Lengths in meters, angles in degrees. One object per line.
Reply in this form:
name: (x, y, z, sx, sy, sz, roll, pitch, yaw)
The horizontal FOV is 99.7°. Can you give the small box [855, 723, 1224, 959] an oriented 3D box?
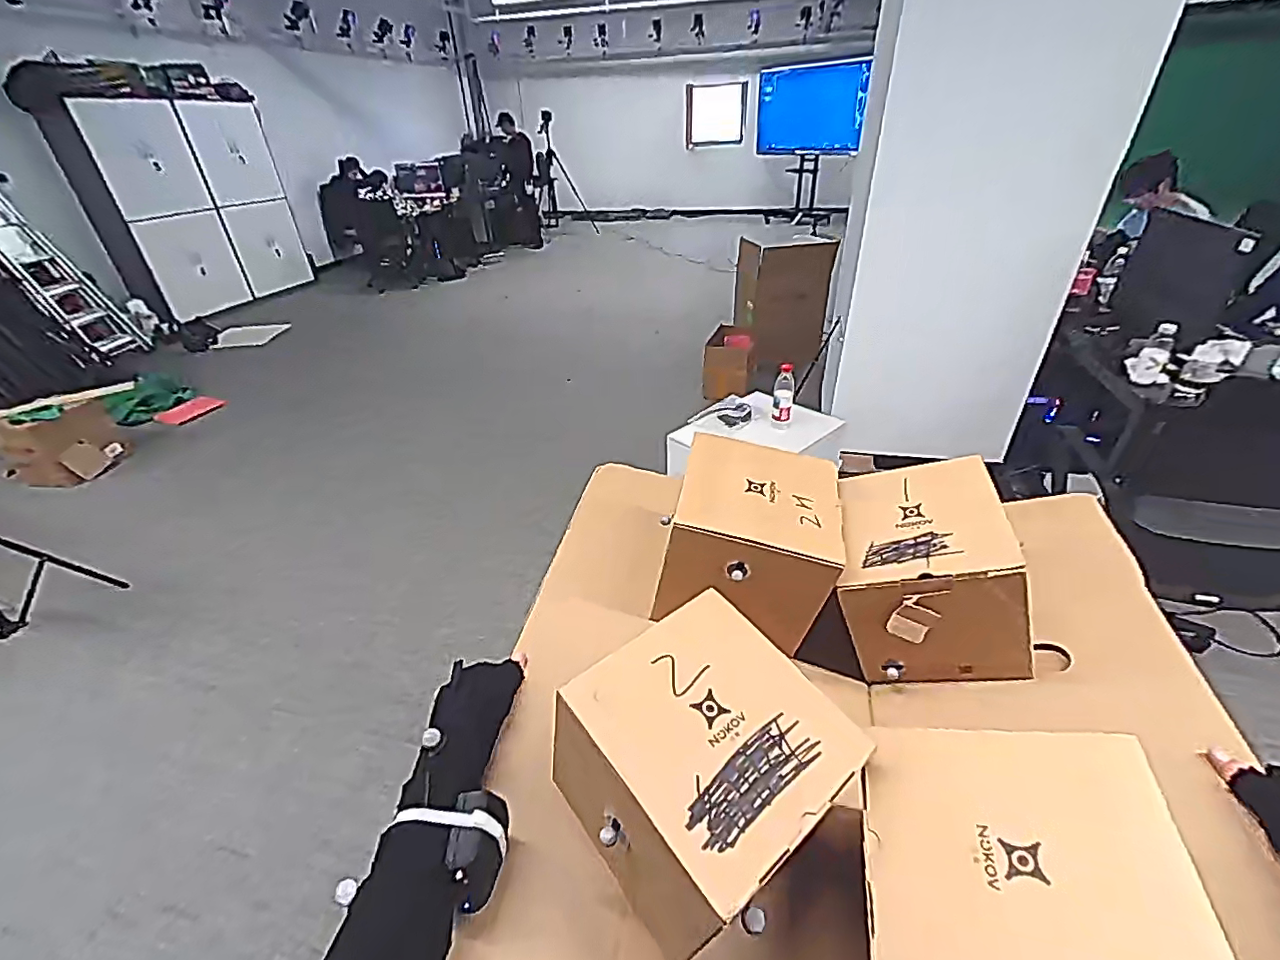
small box: (0.262, 0.294, 0.381, 0.179, 0.176, 0.168, -12, 35, 27)
